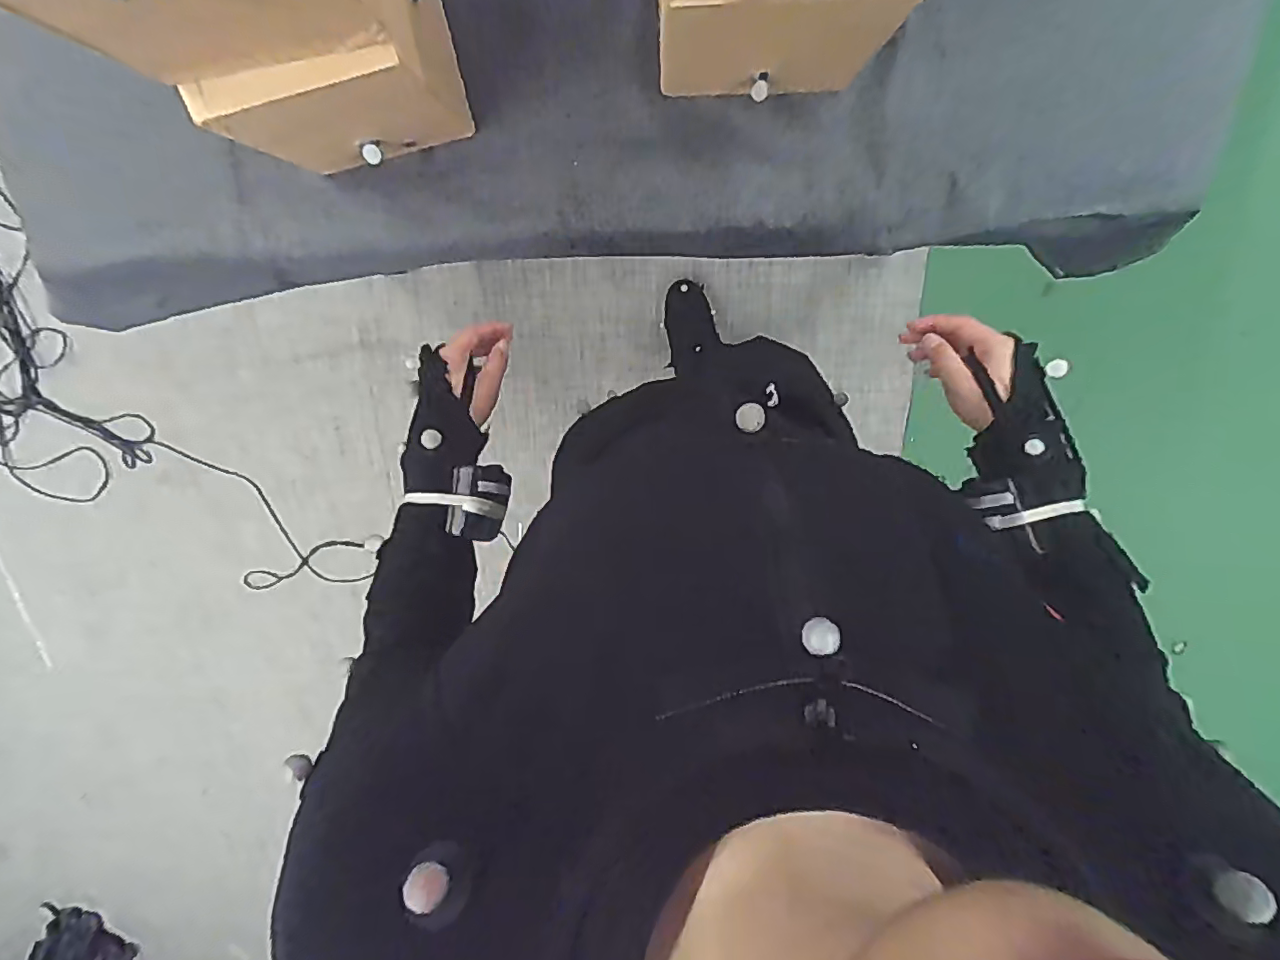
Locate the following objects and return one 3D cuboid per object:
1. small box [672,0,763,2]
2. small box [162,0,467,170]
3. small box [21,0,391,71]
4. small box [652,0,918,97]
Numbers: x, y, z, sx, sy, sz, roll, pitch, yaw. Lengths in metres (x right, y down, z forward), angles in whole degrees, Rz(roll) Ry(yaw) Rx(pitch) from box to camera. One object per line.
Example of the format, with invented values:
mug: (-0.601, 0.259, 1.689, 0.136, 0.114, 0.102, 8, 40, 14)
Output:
small box: (0.092, -0.366, 0.249, 0.179, 0.176, 0.168, 0, 108, 2)
small box: (-0.262, -0.378, 0.432, 0.168, 0.176, 0.179, -11, 108, 5)
small box: (-0.264, -0.342, 0.274, 0.179, 0.176, 0.168, -7, 109, 3)
small box: (0.099, -0.415, 0.409, 0.179, 0.176, 0.168, -1, 107, 1)
